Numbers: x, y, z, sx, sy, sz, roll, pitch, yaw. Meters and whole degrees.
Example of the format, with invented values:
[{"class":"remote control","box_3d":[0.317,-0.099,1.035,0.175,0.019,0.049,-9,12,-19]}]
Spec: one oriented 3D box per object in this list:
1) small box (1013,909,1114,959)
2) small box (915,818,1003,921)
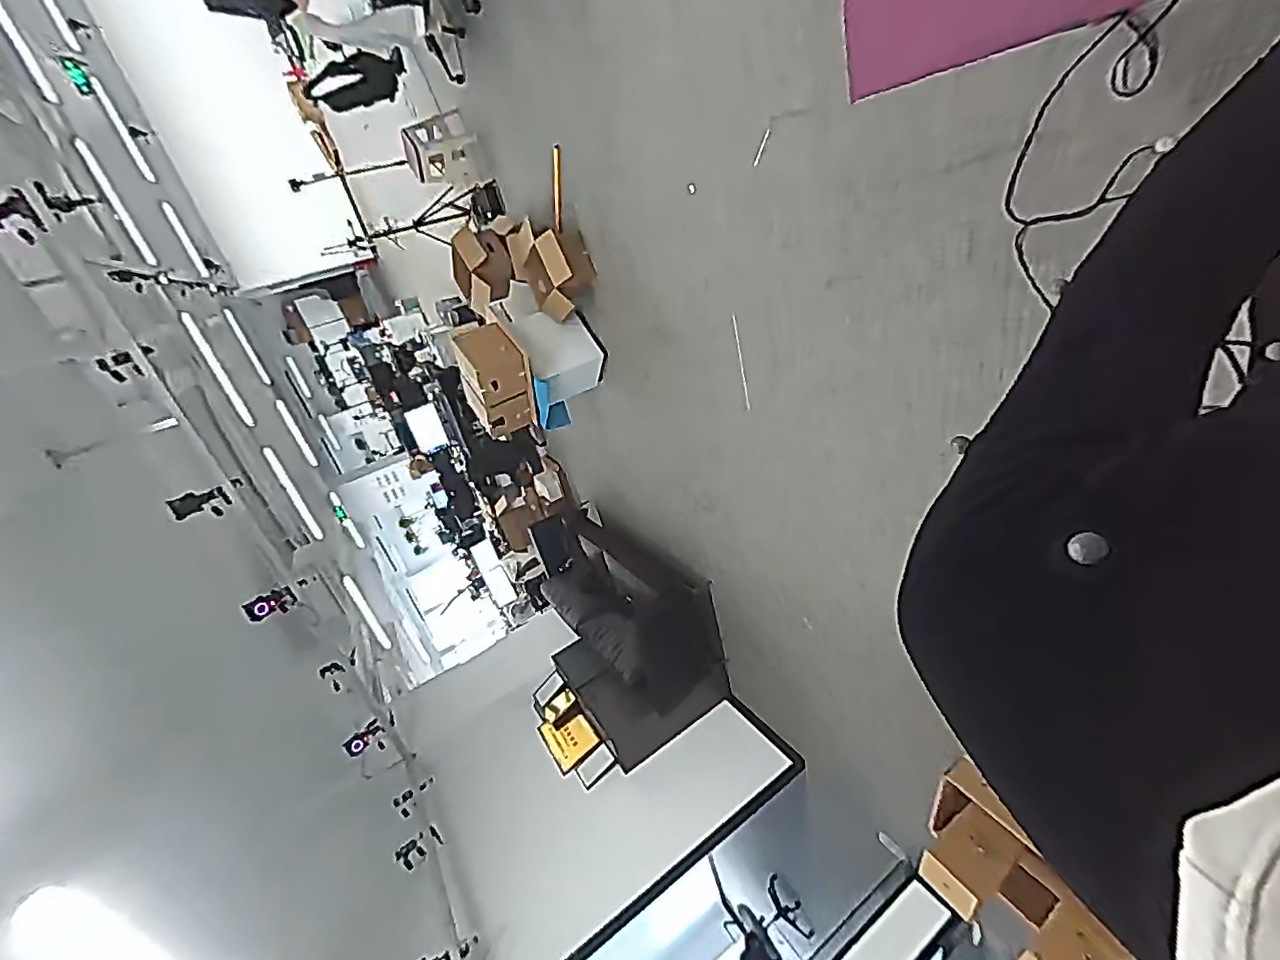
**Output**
[{"class":"small box","box_3d":[1.160,1.337,1.481,0.168,0.176,0.179,37,146,48]},{"class":"small box","box_3d":[0.999,1.217,1.696,0.168,0.176,0.179,36,144,47]}]
